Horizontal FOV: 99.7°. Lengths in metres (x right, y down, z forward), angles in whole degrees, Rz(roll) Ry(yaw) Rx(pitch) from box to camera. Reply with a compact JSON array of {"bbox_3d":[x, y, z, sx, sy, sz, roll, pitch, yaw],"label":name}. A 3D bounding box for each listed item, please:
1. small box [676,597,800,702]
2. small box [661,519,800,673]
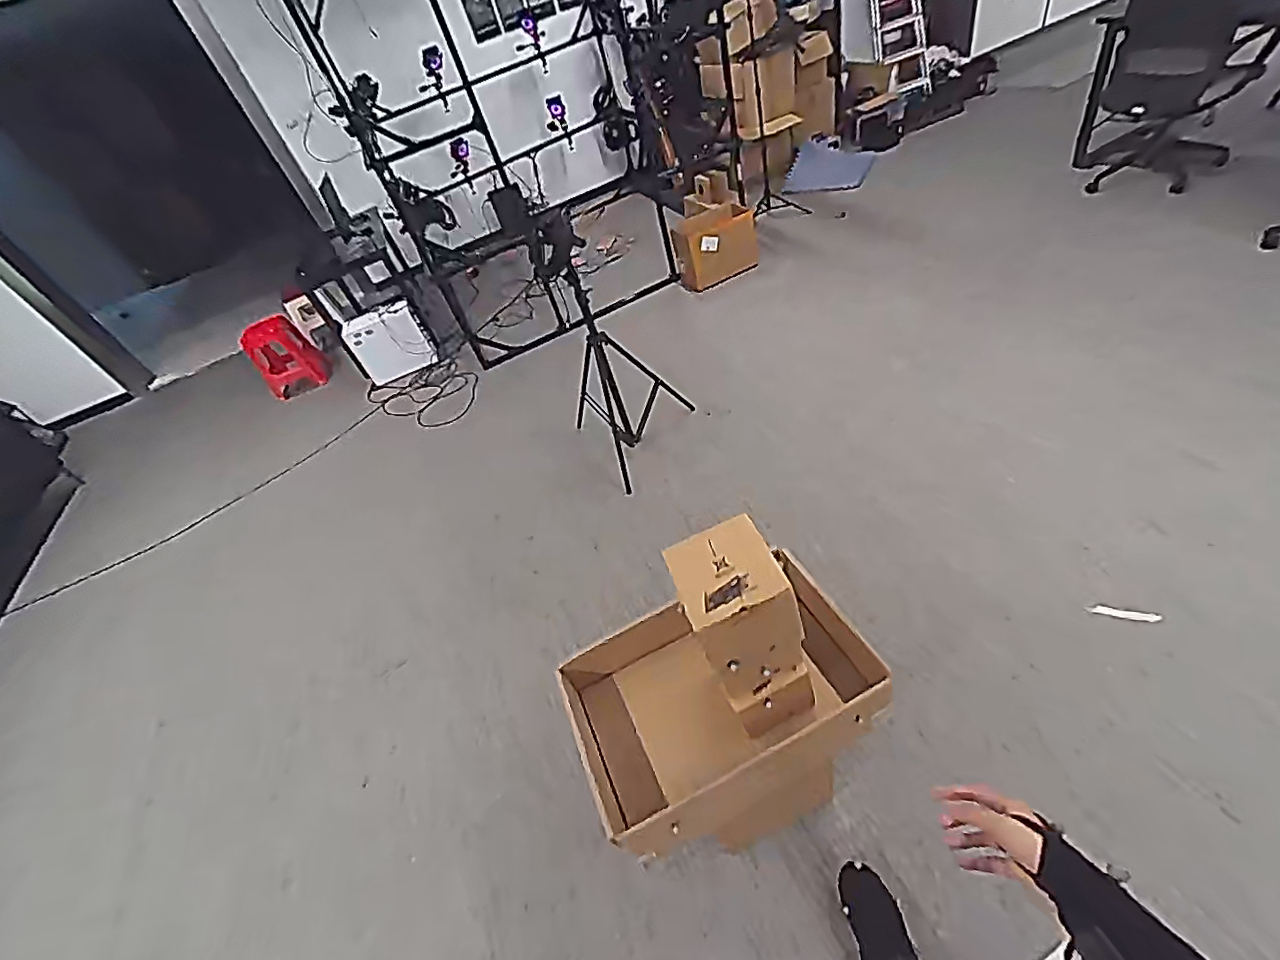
[{"bbox_3d":[0.194,0.298,1.063,0.168,0.176,0.179,-28,43,-3],"label":"small box"},{"bbox_3d":[0.158,0.206,0.927,0.168,0.176,0.179,-24,42,0],"label":"small box"}]
